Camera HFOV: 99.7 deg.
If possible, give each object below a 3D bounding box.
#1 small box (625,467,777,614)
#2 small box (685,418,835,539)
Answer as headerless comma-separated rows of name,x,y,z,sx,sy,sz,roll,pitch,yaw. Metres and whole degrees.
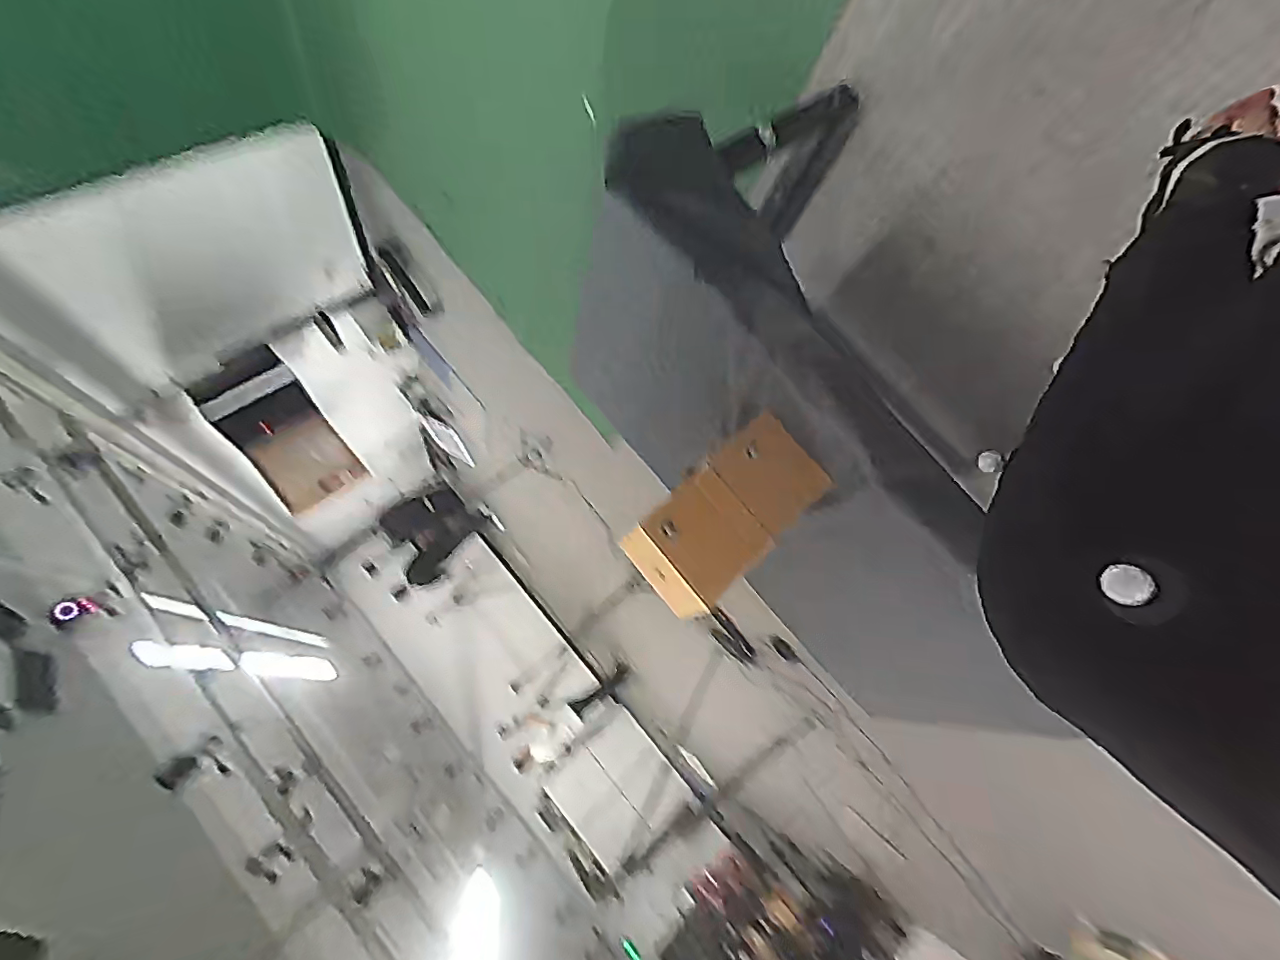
small box,0.104,0.108,0.940,0.179,0.176,0.168,50,158,6
small box,0.218,0.007,1.000,0.179,0.176,0.168,48,158,7
